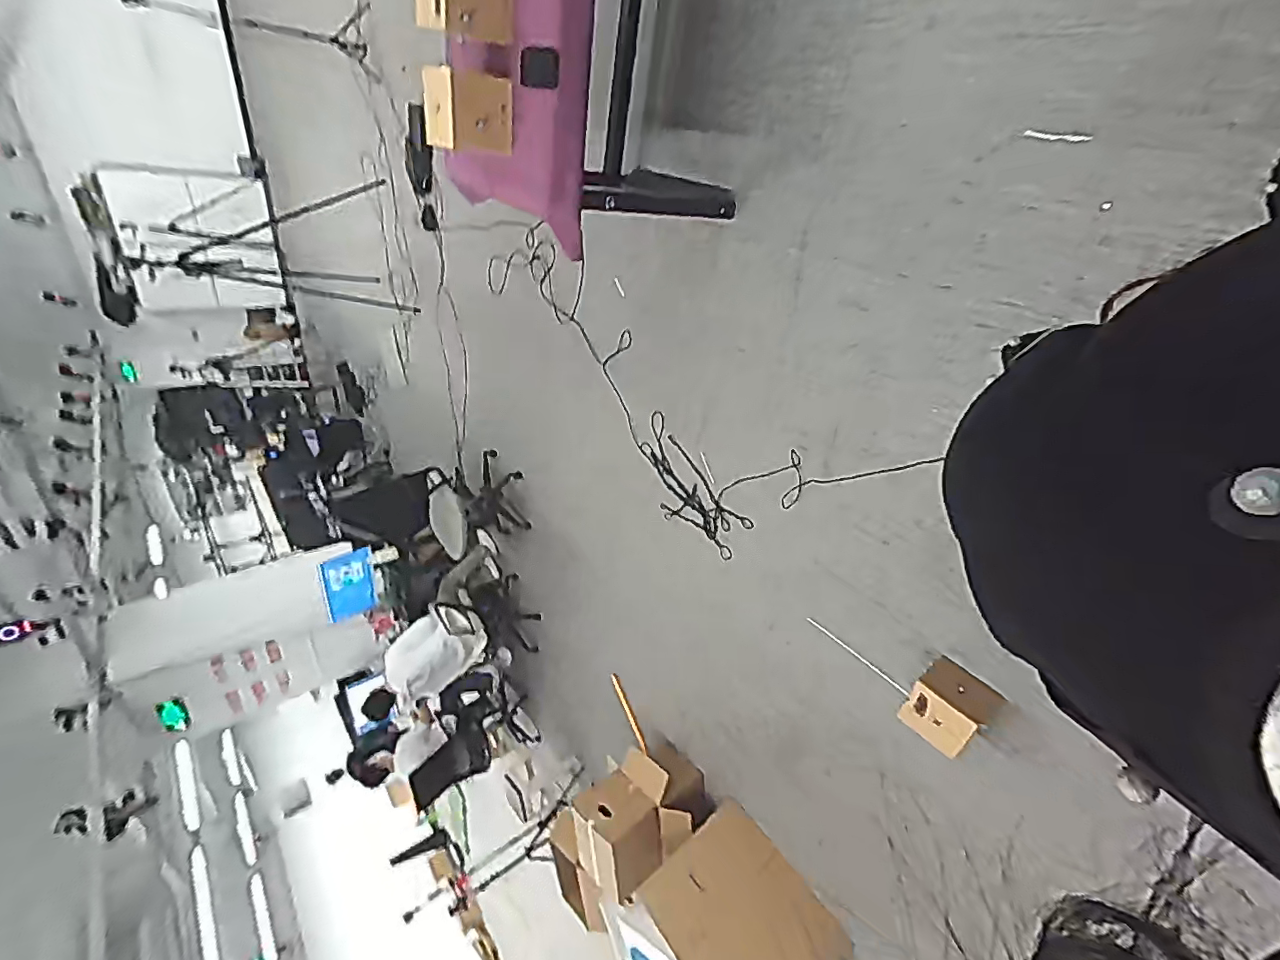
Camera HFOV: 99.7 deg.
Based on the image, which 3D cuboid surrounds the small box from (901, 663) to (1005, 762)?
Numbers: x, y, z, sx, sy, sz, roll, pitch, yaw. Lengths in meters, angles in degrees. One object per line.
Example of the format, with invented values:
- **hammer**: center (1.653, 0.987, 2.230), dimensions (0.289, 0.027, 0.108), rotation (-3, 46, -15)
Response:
- **small box**: center (0.897, 0.653, 1.551), dimensions (0.179, 0.176, 0.168), rotation (37, 132, 38)

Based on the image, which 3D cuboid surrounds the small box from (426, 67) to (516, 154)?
- **small box**: center (-0.434, -0.956, 1.403), dimensions (0.179, 0.176, 0.168), rotation (38, 132, 39)
